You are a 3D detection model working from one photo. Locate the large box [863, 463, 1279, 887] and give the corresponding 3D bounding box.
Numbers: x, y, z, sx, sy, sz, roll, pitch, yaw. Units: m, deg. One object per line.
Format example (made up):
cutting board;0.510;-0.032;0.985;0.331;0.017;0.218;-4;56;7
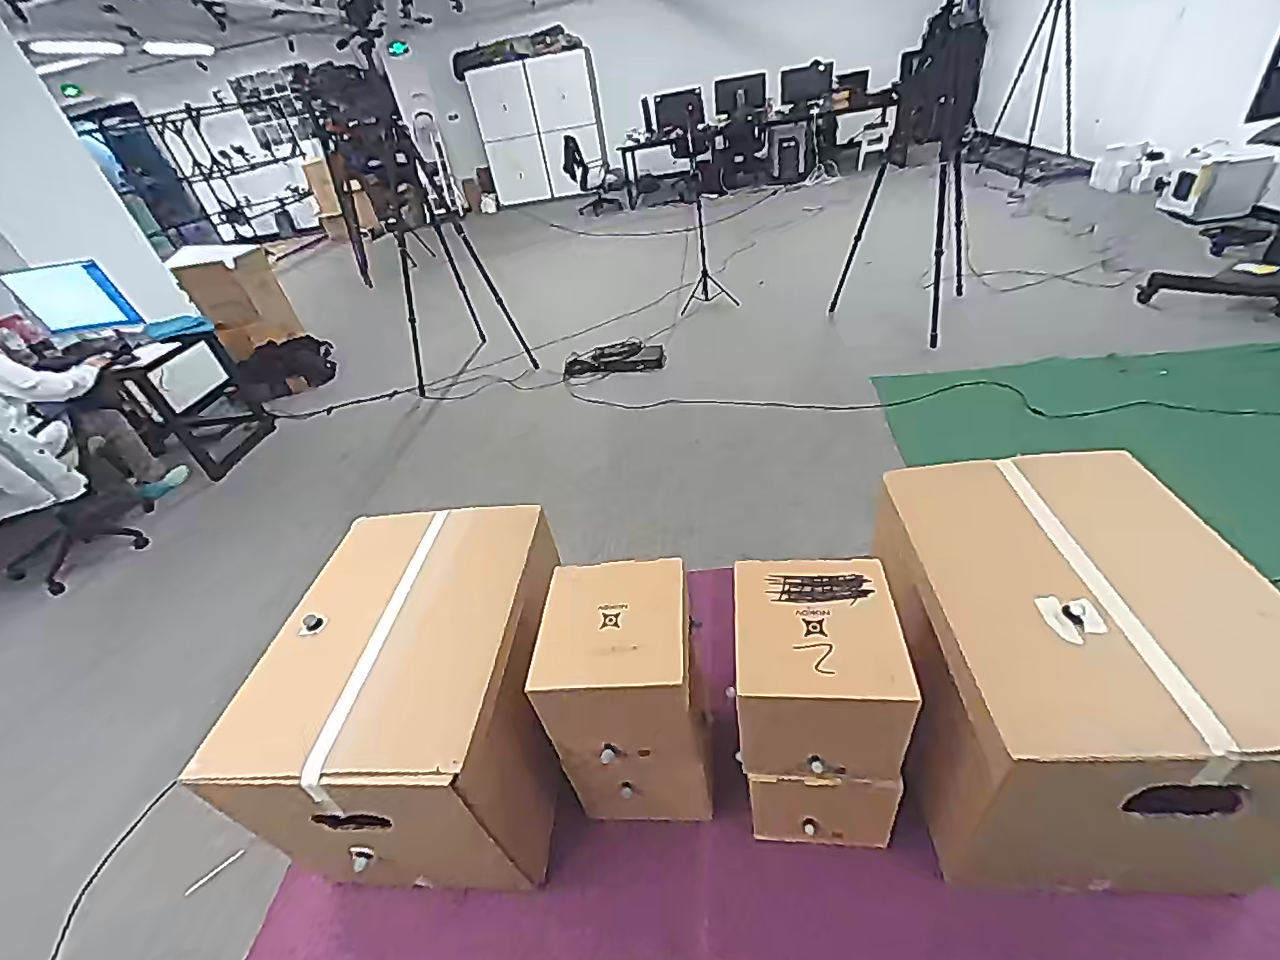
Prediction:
large box;0.507;0.224;0.686;0.320;0.320;0.408;-5;38;9
